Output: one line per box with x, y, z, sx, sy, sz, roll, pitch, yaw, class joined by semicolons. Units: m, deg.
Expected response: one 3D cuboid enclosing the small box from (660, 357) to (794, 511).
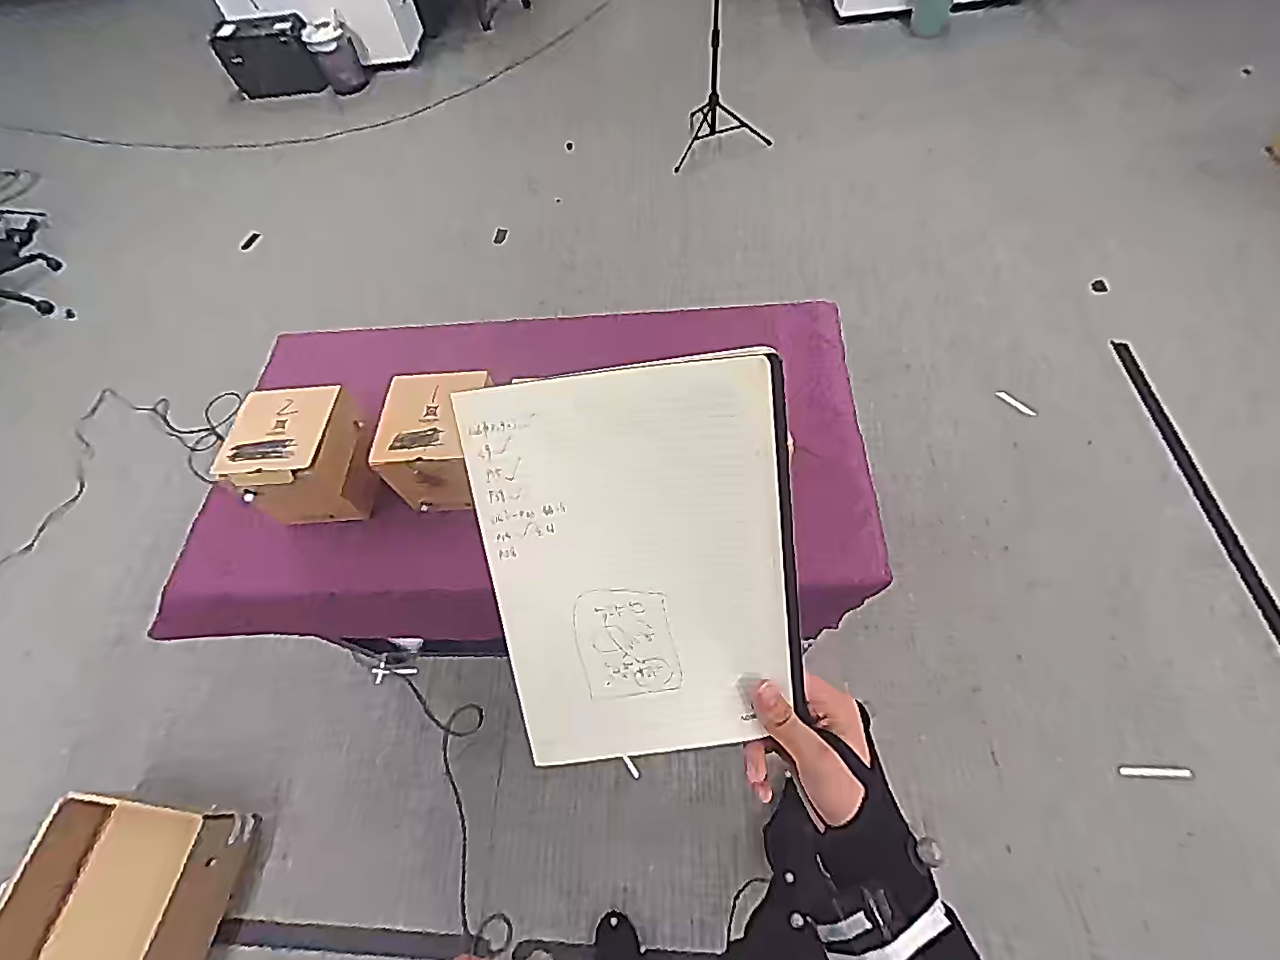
0.134;-0.065;0.877;0.168;0.176;0.179;-13;59;-2;small box
